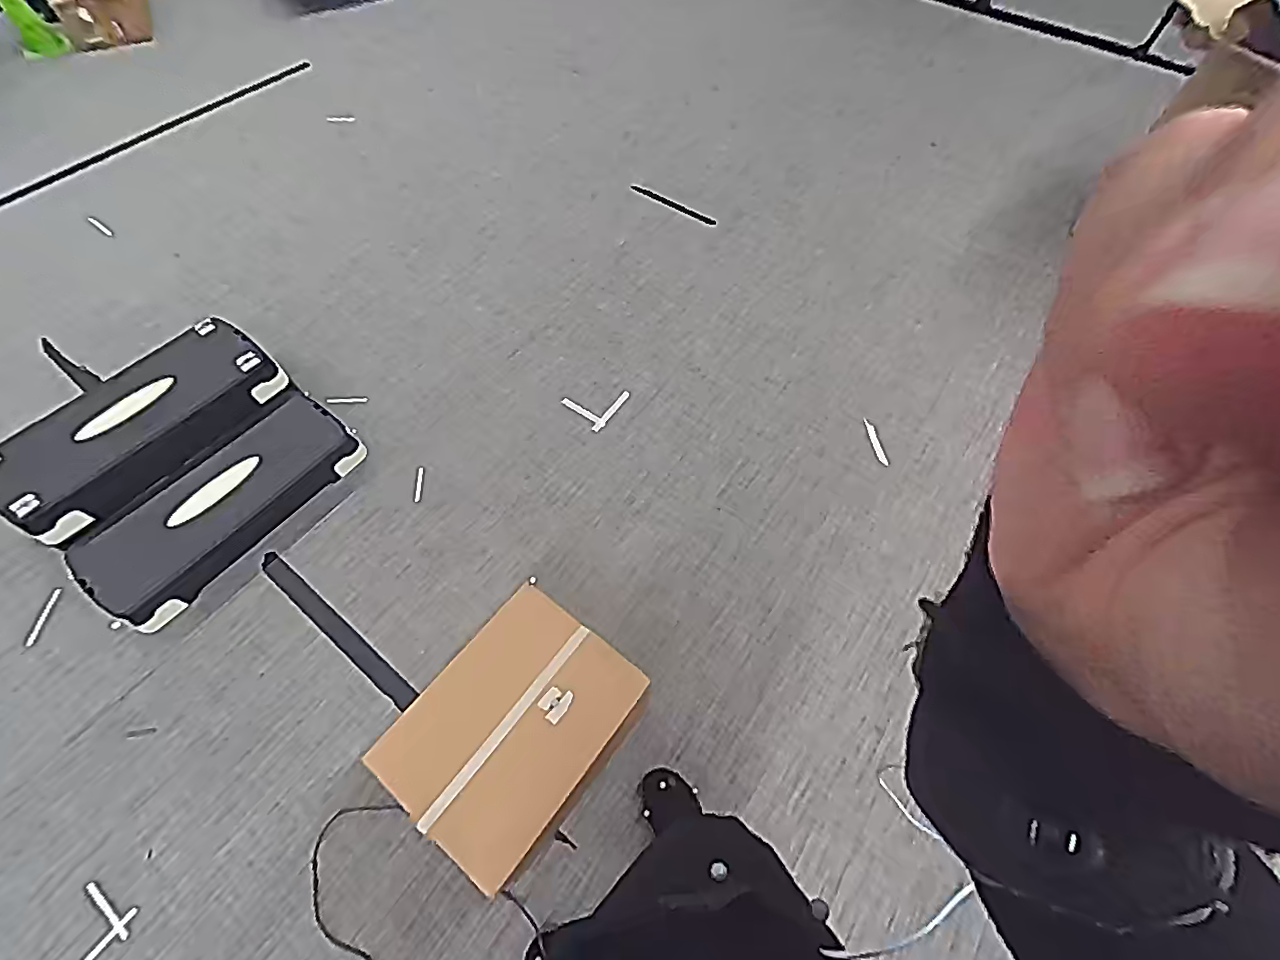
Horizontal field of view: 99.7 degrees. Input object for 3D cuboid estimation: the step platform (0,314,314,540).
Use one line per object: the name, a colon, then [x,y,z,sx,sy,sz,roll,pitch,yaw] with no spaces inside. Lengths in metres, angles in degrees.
step platform: [-1.284,-0.163,1.458,0.286,0.204,0.684,40,66,19]

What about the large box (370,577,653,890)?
large box: [-0.216,0.478,1.055,0.320,0.320,0.408,34,64,17]
